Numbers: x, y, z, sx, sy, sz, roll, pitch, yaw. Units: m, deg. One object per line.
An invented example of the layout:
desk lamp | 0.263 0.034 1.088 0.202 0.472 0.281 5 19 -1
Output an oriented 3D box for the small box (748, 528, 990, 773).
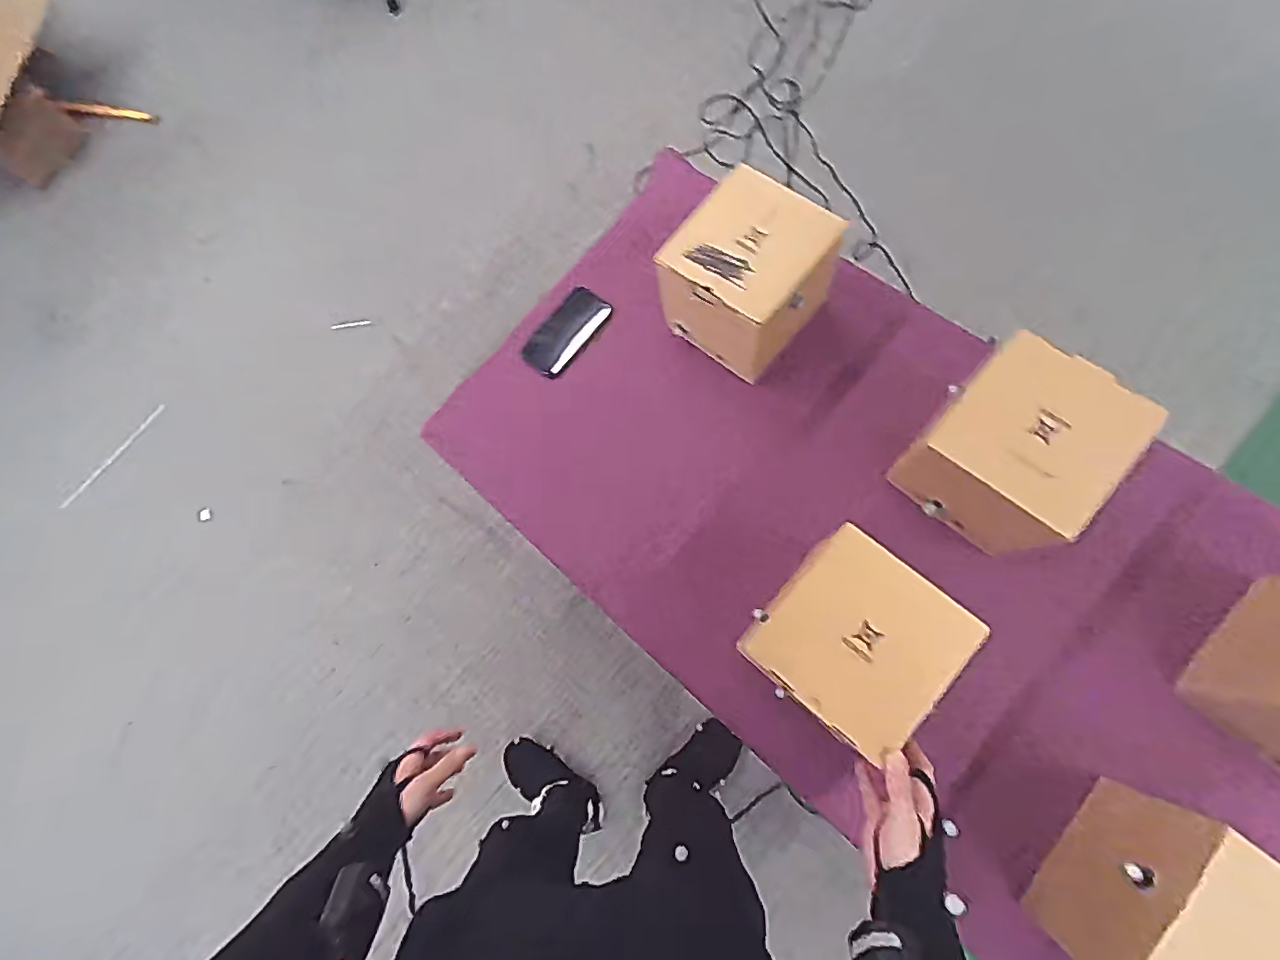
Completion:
small box | 0.235 0.181 0.610 0.168 0.176 0.179 39 84 16

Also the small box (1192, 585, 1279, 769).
small box | 0.717 0.209 0.523 0.168 0.176 0.179 41 85 17

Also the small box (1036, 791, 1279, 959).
small box | 0.517 0.427 0.493 0.168 0.176 0.179 39 84 18

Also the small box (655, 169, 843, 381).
small box | 0.146 -0.268 0.741 0.168 0.176 0.179 39 84 16

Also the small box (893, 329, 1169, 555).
small box | 0.432 -0.034 0.636 0.168 0.176 0.179 40 86 17
